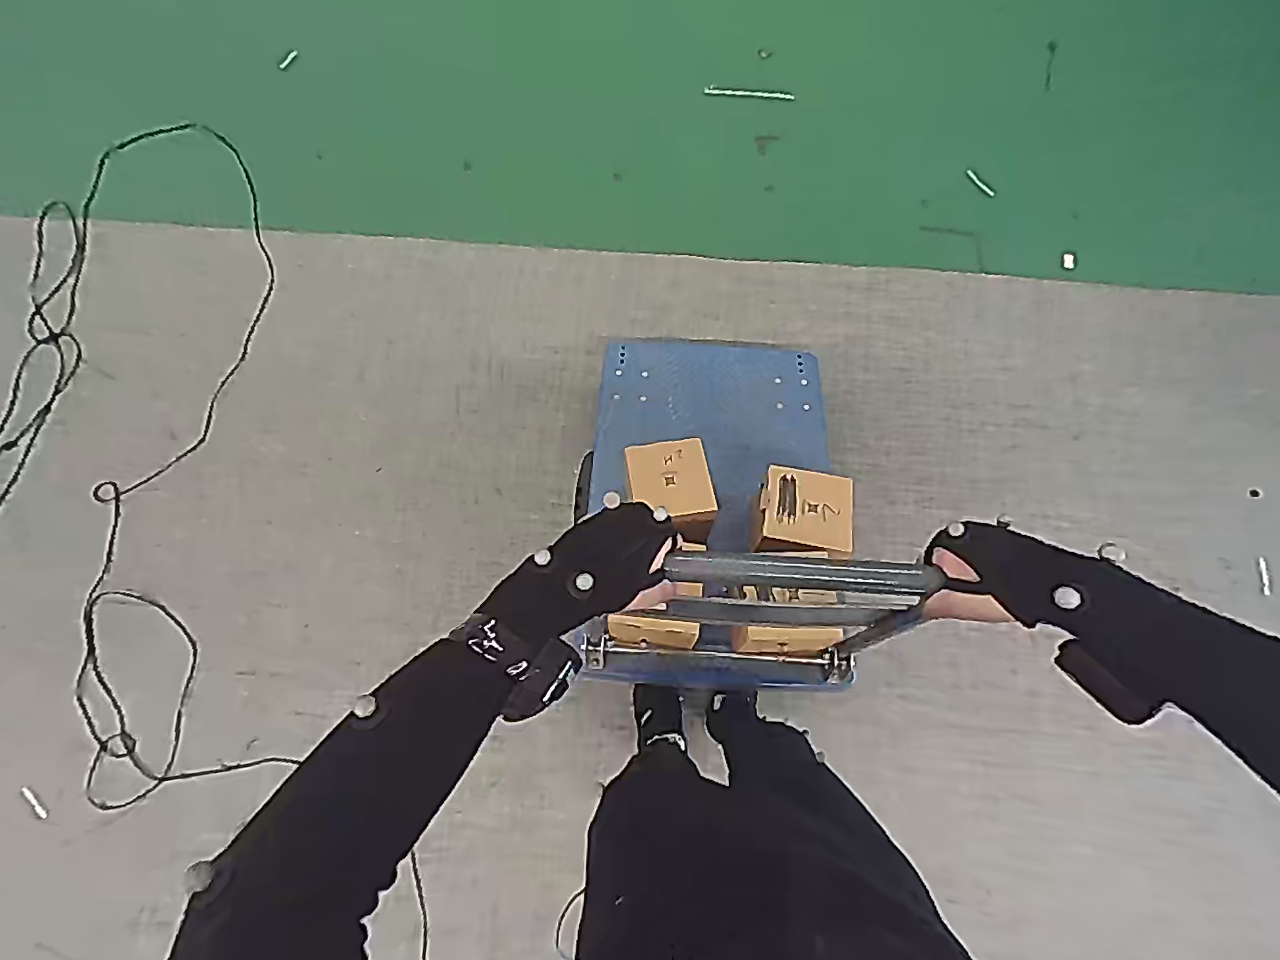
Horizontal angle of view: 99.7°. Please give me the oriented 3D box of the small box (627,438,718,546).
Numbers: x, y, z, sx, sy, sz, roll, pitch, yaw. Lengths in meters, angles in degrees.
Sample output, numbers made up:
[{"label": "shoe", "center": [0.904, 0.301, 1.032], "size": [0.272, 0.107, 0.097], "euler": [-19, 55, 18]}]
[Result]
[{"label": "small box", "center": [0.064, 0.033, 1.172], "size": [0.168, 0.176, 0.179], "euler": [-7, 62, -5]}]
